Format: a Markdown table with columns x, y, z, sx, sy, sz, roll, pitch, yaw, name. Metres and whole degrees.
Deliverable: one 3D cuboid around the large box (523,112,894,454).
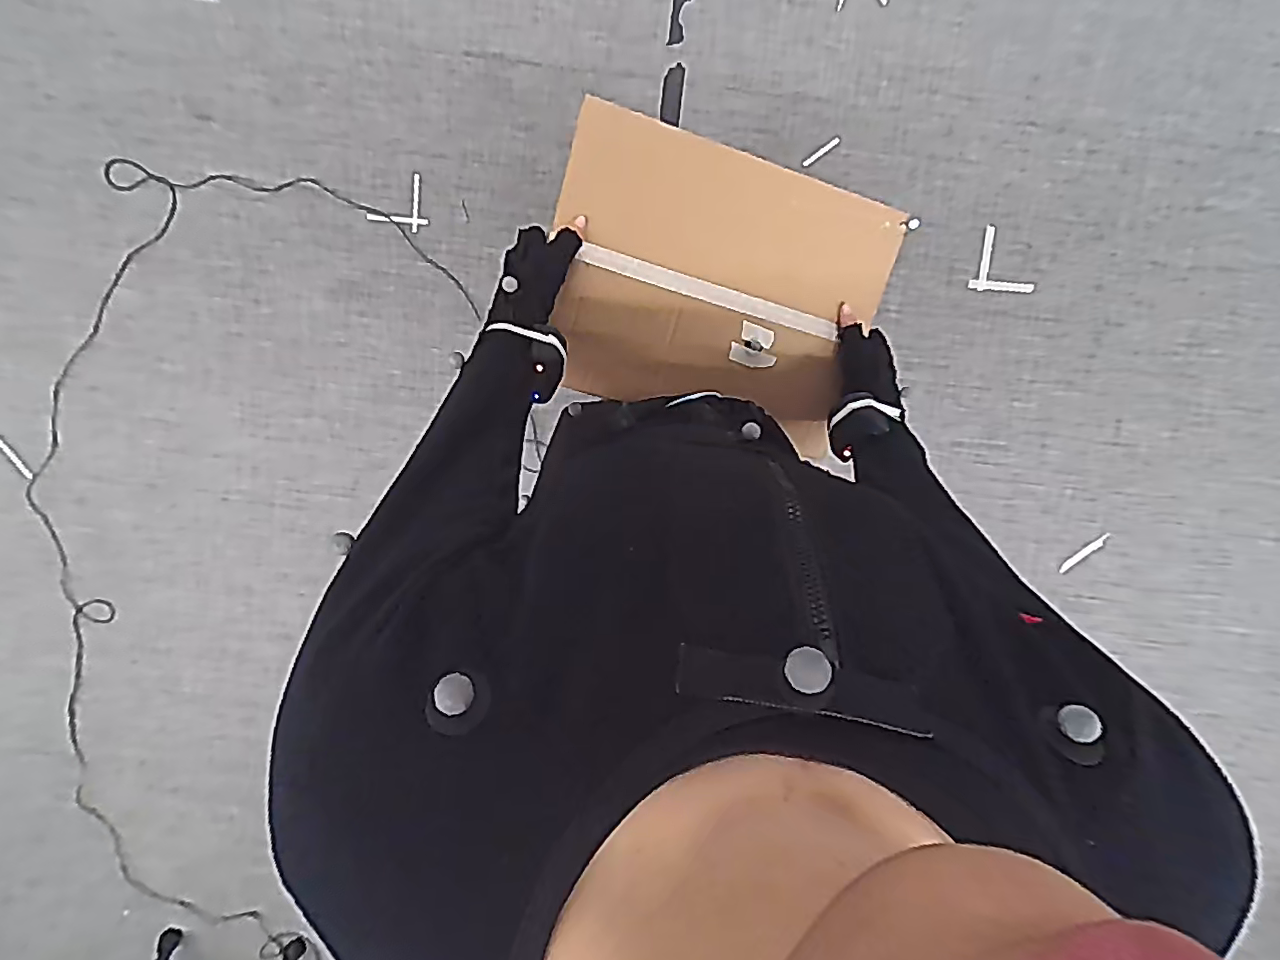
| x | y | z | sx | sy | sz | roll | pitch | yaw | name |
| --- | --- | --- | --- | --- | --- | --- | --- | --- | --- |
| 0.068 | -0.256 | 0.806 | 0.408 | 0.320 | 0.320 | 15 | 102 | -9 | large box |
